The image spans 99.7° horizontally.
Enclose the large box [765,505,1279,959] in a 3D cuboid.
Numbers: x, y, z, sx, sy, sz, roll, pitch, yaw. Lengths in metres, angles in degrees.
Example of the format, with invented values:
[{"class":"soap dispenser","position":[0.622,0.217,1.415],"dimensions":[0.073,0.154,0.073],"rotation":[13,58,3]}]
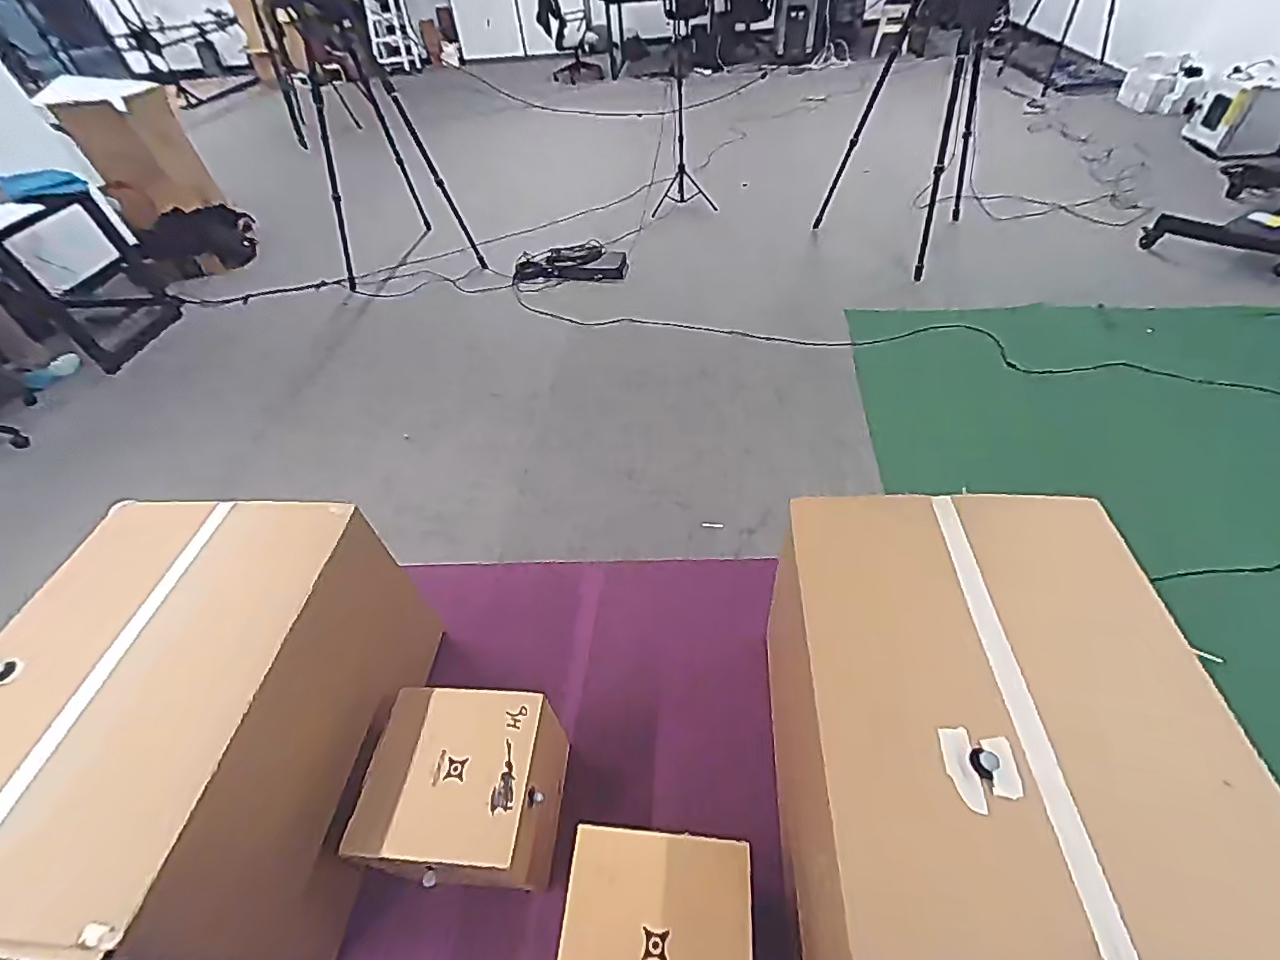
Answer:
[{"class":"large box","position":[0.317,0.277,0.564],"dimensions":[0.320,0.320,0.408],"rotation":[1,48,7]}]
